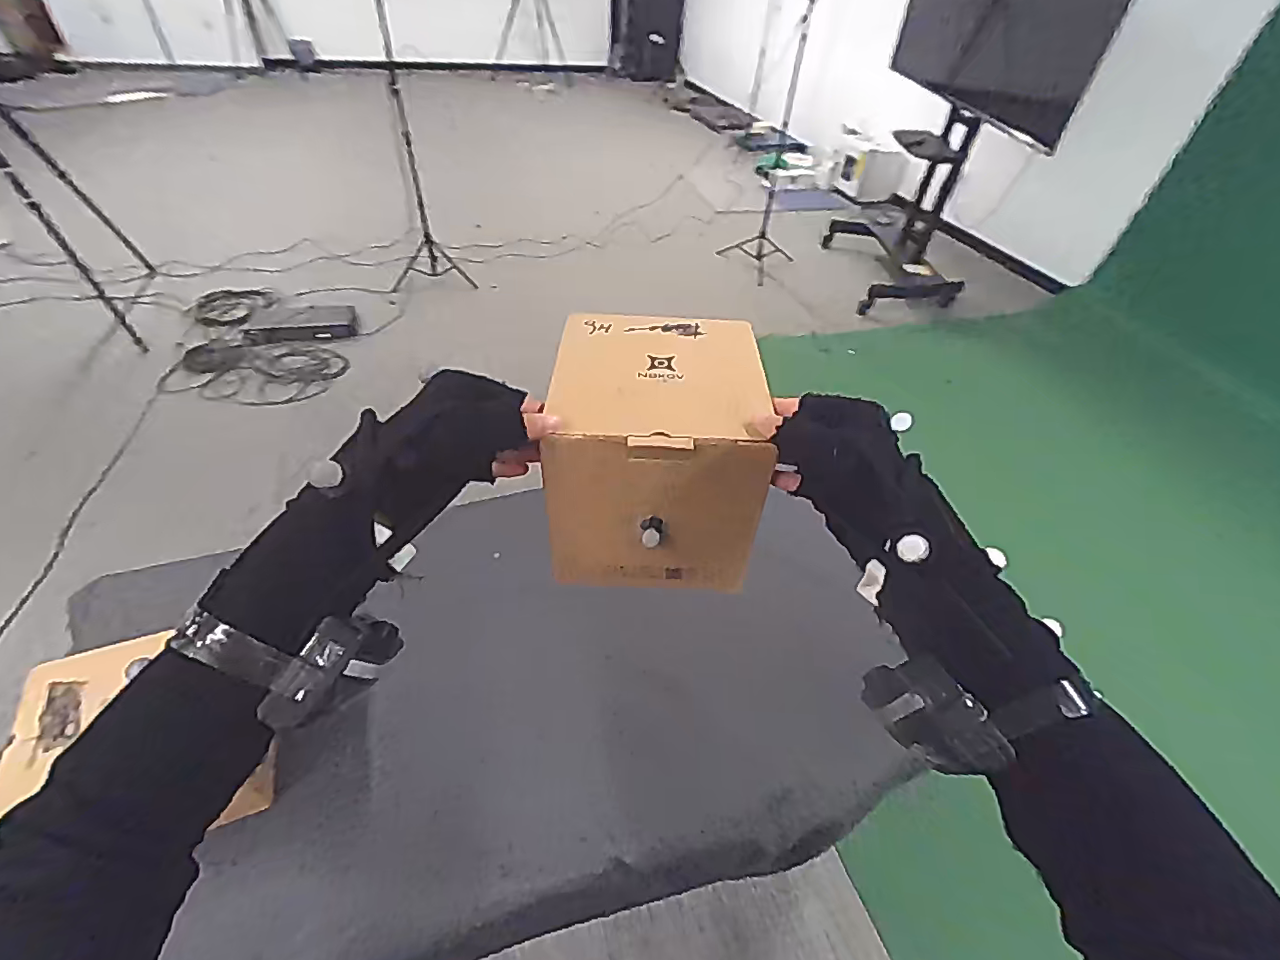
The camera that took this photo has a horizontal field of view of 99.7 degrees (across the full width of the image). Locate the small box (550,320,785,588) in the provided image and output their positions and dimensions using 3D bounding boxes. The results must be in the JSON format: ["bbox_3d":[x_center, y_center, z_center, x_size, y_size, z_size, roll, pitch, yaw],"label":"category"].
[{"bbox_3d":[0.021,-0.022,0.482,0.168,0.176,0.179,3,44,0],"label":"small box"}]

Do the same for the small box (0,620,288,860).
[{"bbox_3d":[-0.531,0.293,0.611,0.179,0.176,0.168,-13,48,-19],"label":"small box"}]
